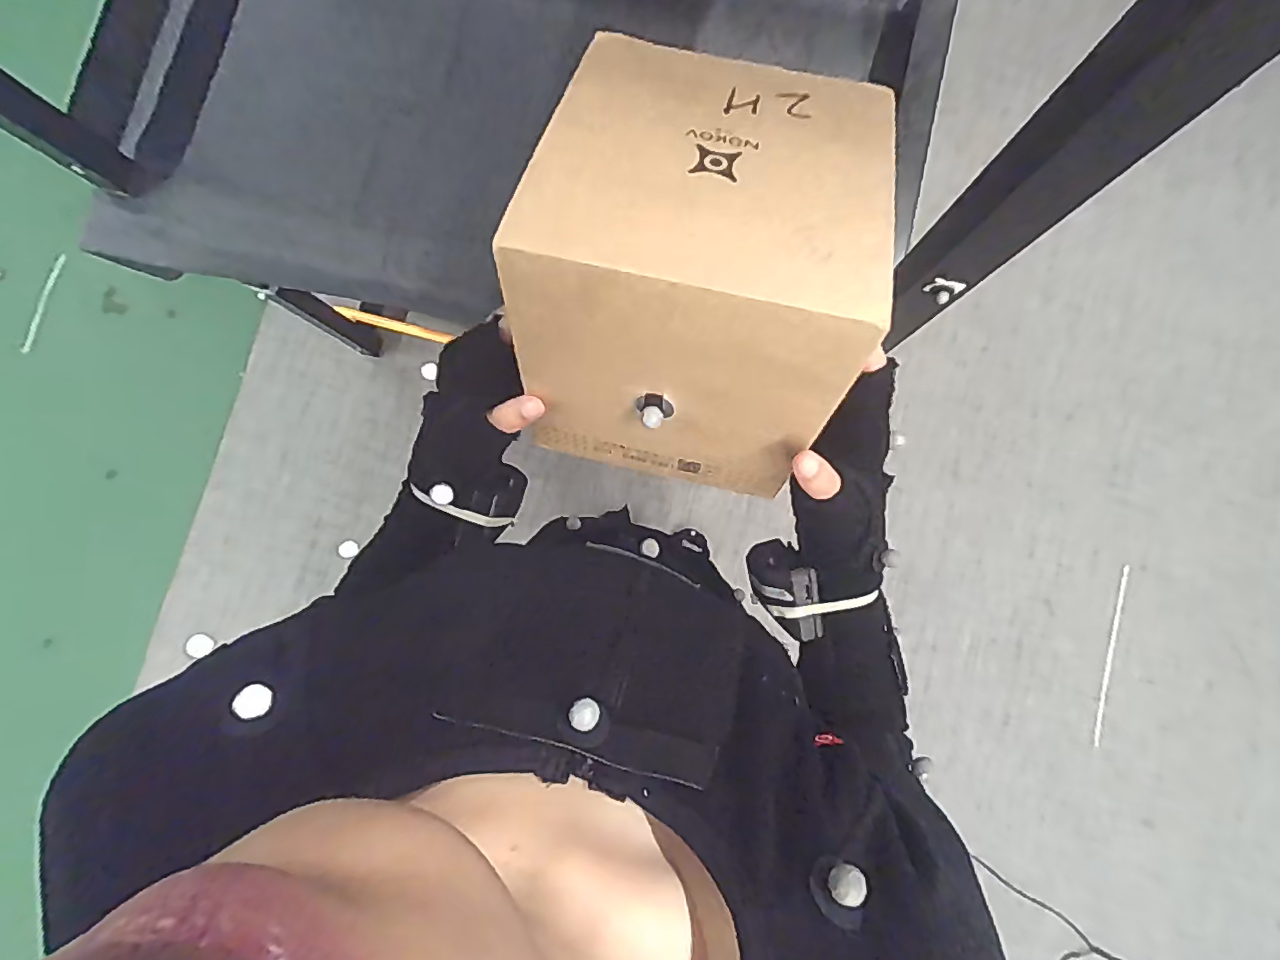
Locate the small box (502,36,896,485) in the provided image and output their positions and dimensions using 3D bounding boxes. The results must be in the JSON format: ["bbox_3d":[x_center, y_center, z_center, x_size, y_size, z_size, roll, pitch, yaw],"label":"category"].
[{"bbox_3d":[0.035,-0.117,0.330,0.168,0.176,0.179,13,64,2],"label":"small box"}]
